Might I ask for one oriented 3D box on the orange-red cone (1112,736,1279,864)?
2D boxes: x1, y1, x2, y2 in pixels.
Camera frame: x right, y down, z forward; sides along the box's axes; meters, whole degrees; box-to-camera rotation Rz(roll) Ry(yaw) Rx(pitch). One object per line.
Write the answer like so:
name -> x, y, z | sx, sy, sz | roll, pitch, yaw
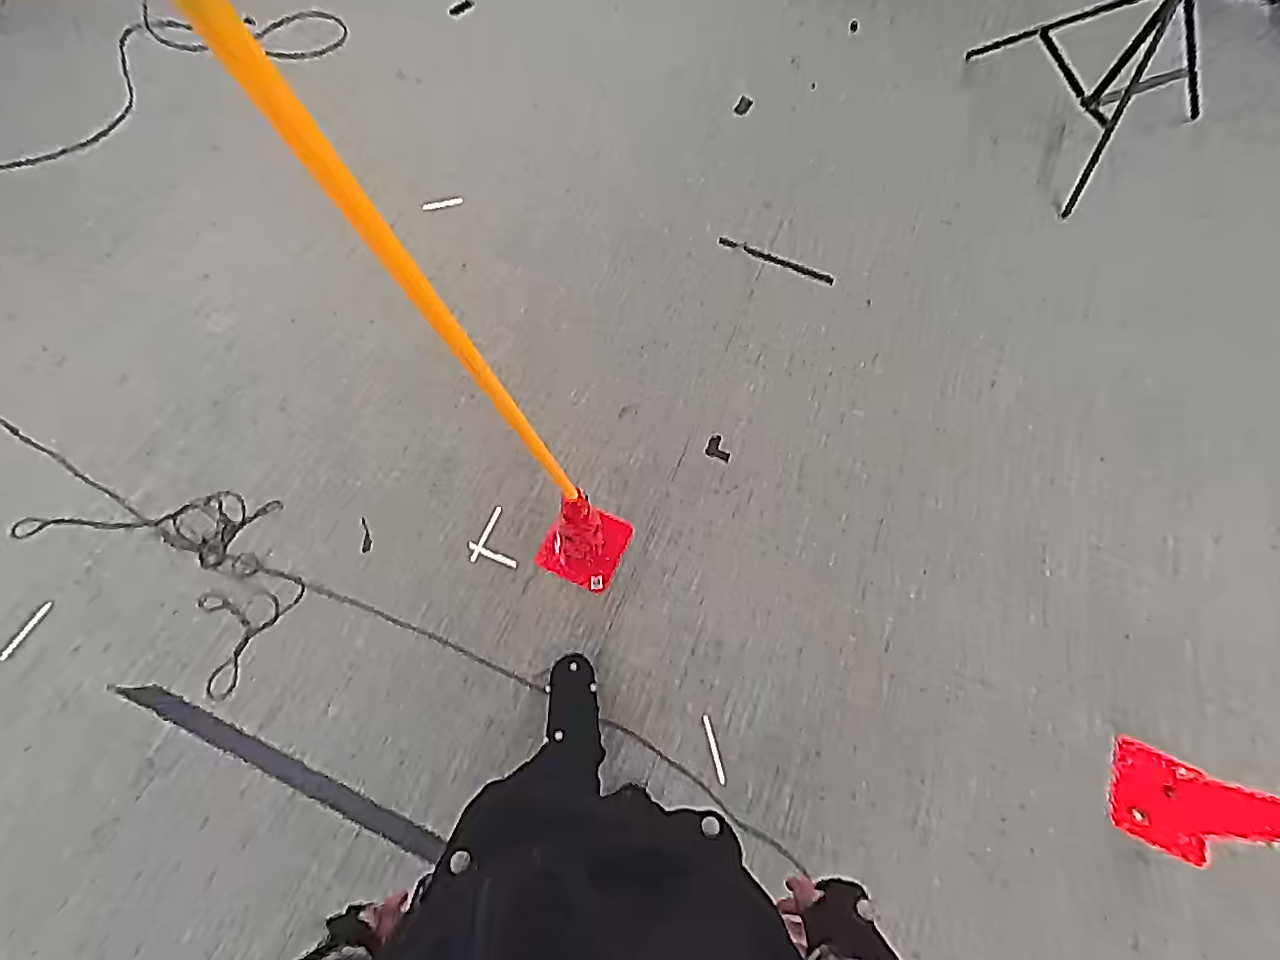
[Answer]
orange-red cone -> 1.152, 0.629, 1.025 | 0.199, 0.360, 0.198 | 25, 69, 8
